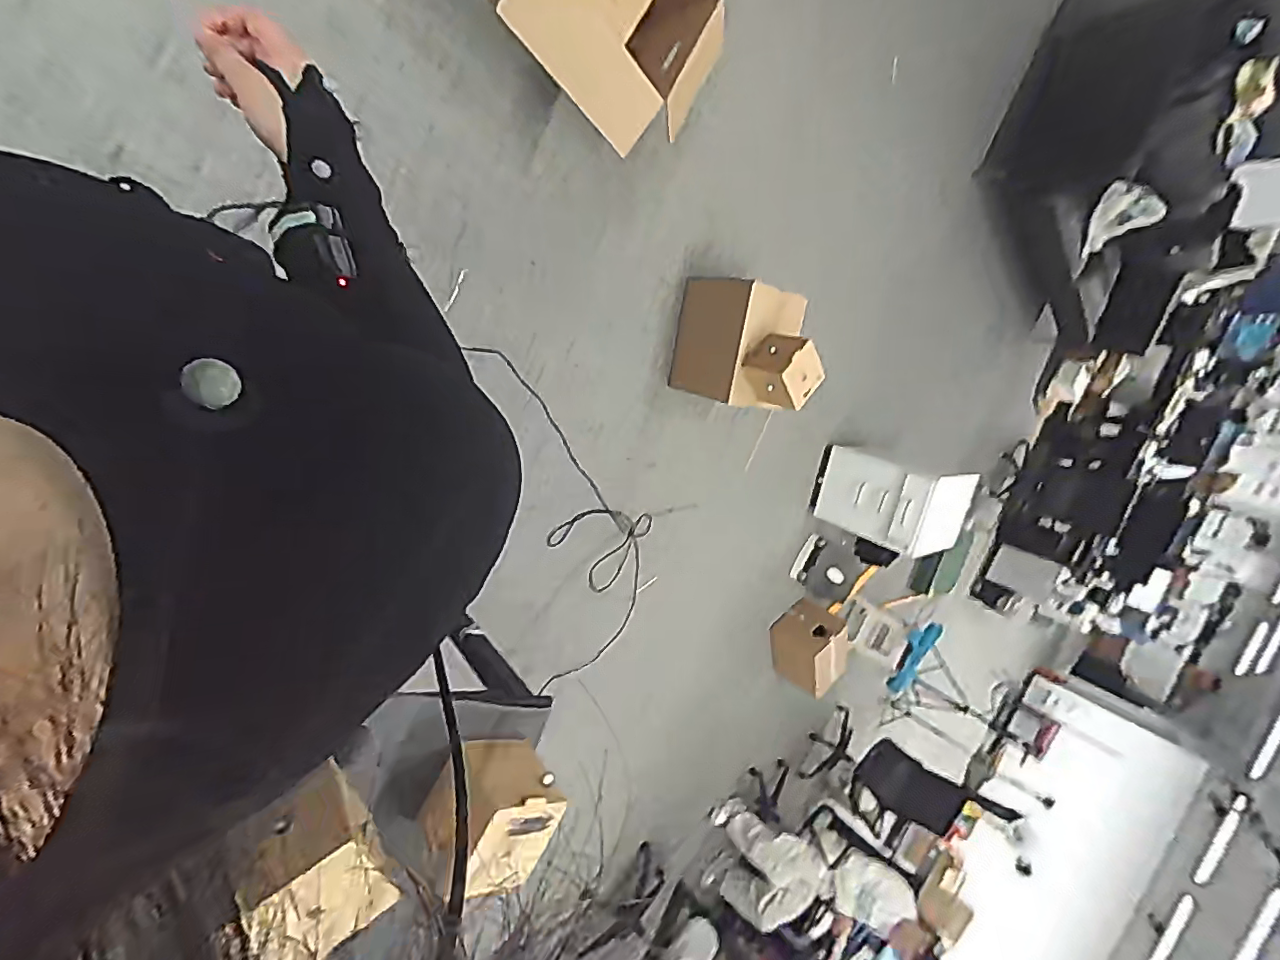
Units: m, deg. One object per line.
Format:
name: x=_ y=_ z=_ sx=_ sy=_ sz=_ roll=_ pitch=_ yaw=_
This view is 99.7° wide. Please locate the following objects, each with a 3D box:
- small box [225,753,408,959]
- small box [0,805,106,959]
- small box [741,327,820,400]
small box: x=-0.473 y=0.539 z=0.791 sx=0.168 sy=0.176 sz=0.179 roll=-28 pitch=126 yaw=-29
small box: x=-0.707 y=0.466 z=0.548 sx=0.168 sy=0.176 sz=0.179 roll=-45 pitch=134 yaw=-17
small box: x=0.467 y=-0.395 z=1.807 sx=0.168 sy=0.176 sz=0.179 roll=-50 pitch=132 yaw=-12
